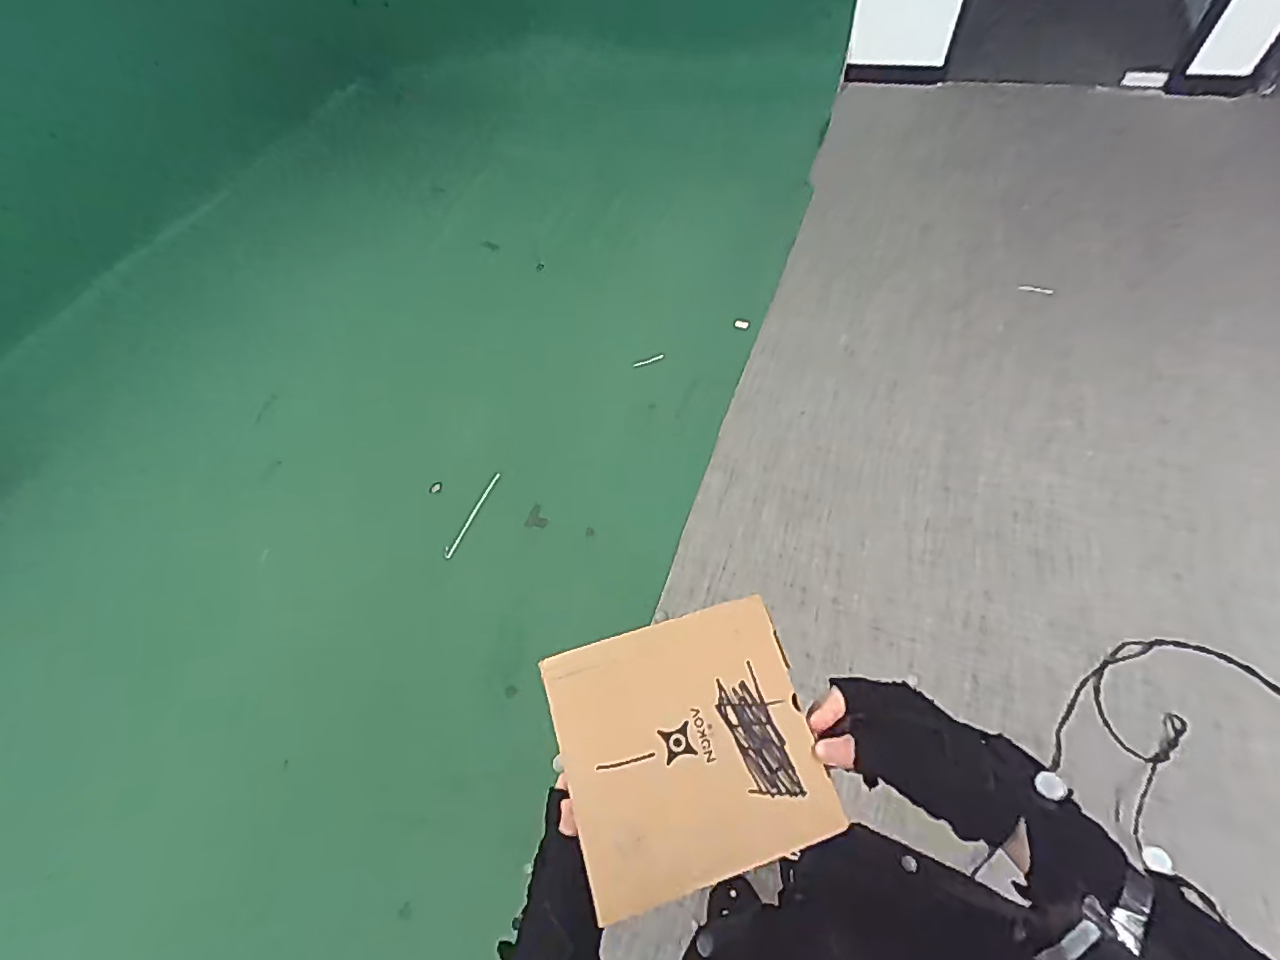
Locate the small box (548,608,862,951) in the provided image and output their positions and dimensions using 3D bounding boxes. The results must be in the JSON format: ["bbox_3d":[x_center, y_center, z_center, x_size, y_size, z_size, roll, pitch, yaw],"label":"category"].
[{"bbox_3d":[0.034,0.216,0.434,0.179,0.176,0.168,-15,69,-9],"label":"small box"}]
